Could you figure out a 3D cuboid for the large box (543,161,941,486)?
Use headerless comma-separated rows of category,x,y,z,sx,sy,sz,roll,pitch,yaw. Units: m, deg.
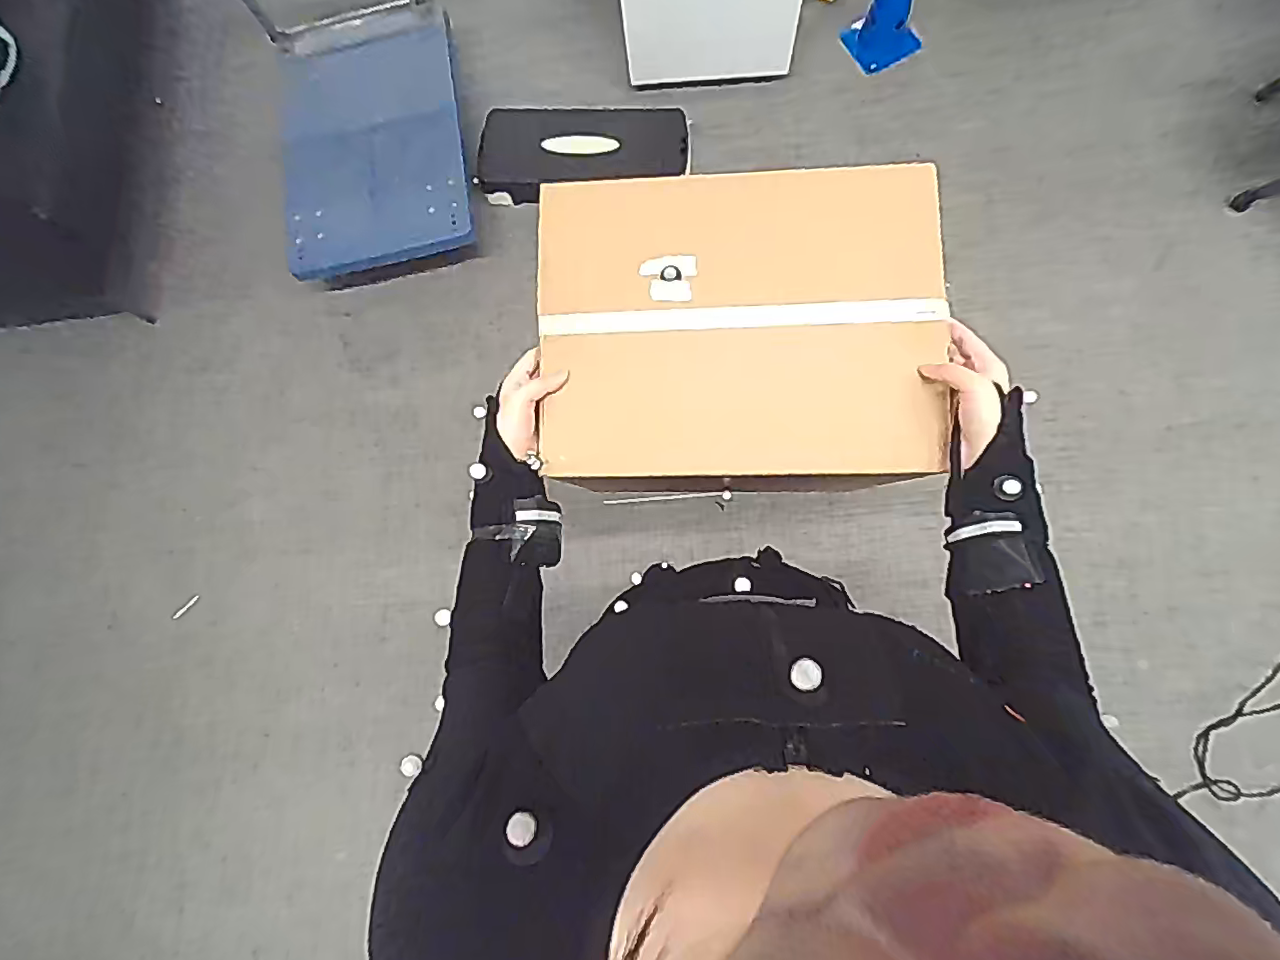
large box,0.112,-0.156,0.705,0.408,0.320,0.320,-1,85,6
